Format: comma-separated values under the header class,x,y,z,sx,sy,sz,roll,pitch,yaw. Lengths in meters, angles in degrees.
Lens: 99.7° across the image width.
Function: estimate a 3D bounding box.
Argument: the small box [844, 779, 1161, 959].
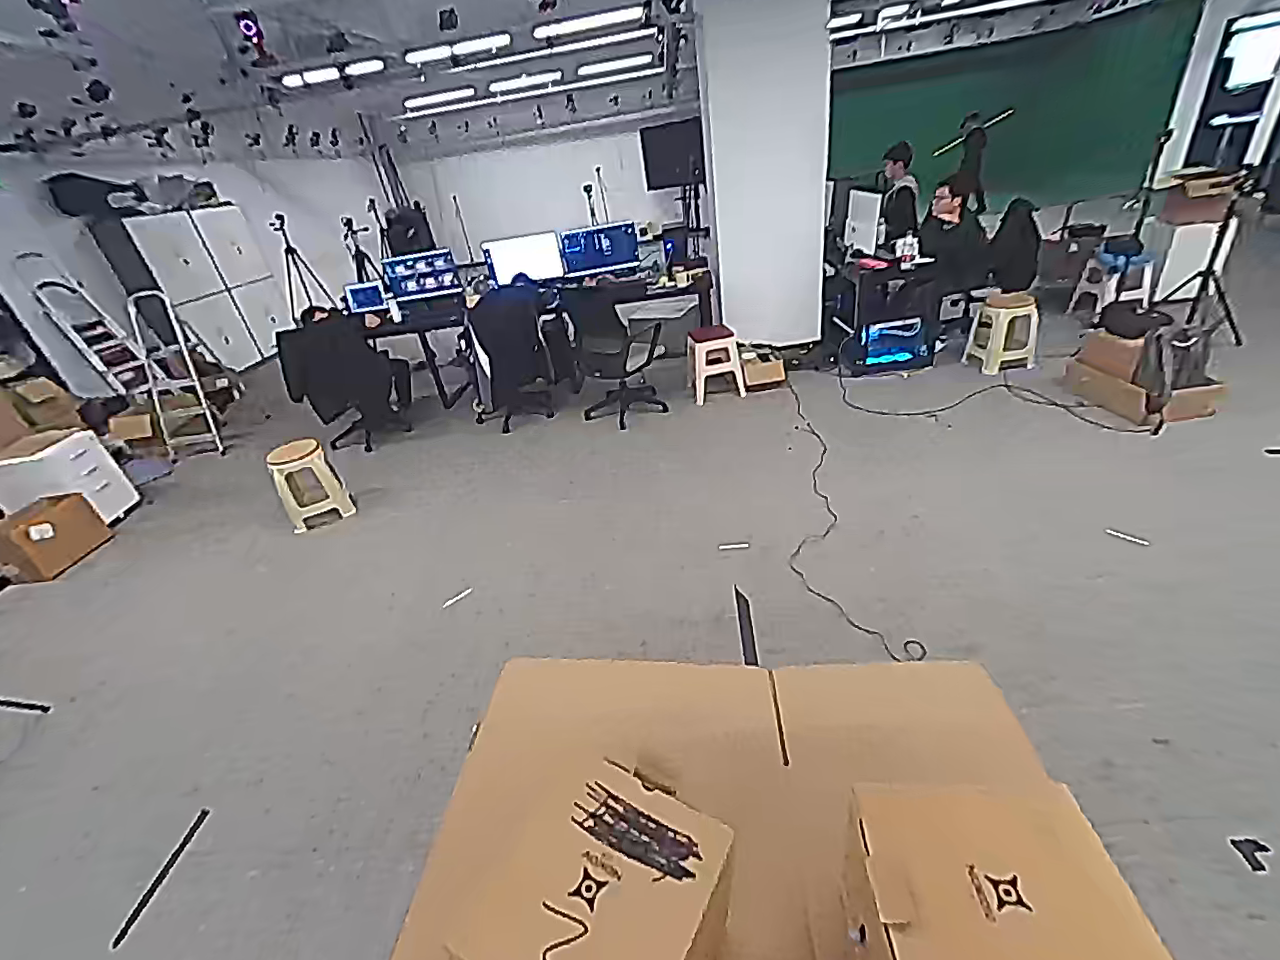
class,x,y,z,sx,sy,sz,roll,pitch,yaw
small box,0.278,0.376,0.447,0.179,0.176,0.168,-6,28,8
